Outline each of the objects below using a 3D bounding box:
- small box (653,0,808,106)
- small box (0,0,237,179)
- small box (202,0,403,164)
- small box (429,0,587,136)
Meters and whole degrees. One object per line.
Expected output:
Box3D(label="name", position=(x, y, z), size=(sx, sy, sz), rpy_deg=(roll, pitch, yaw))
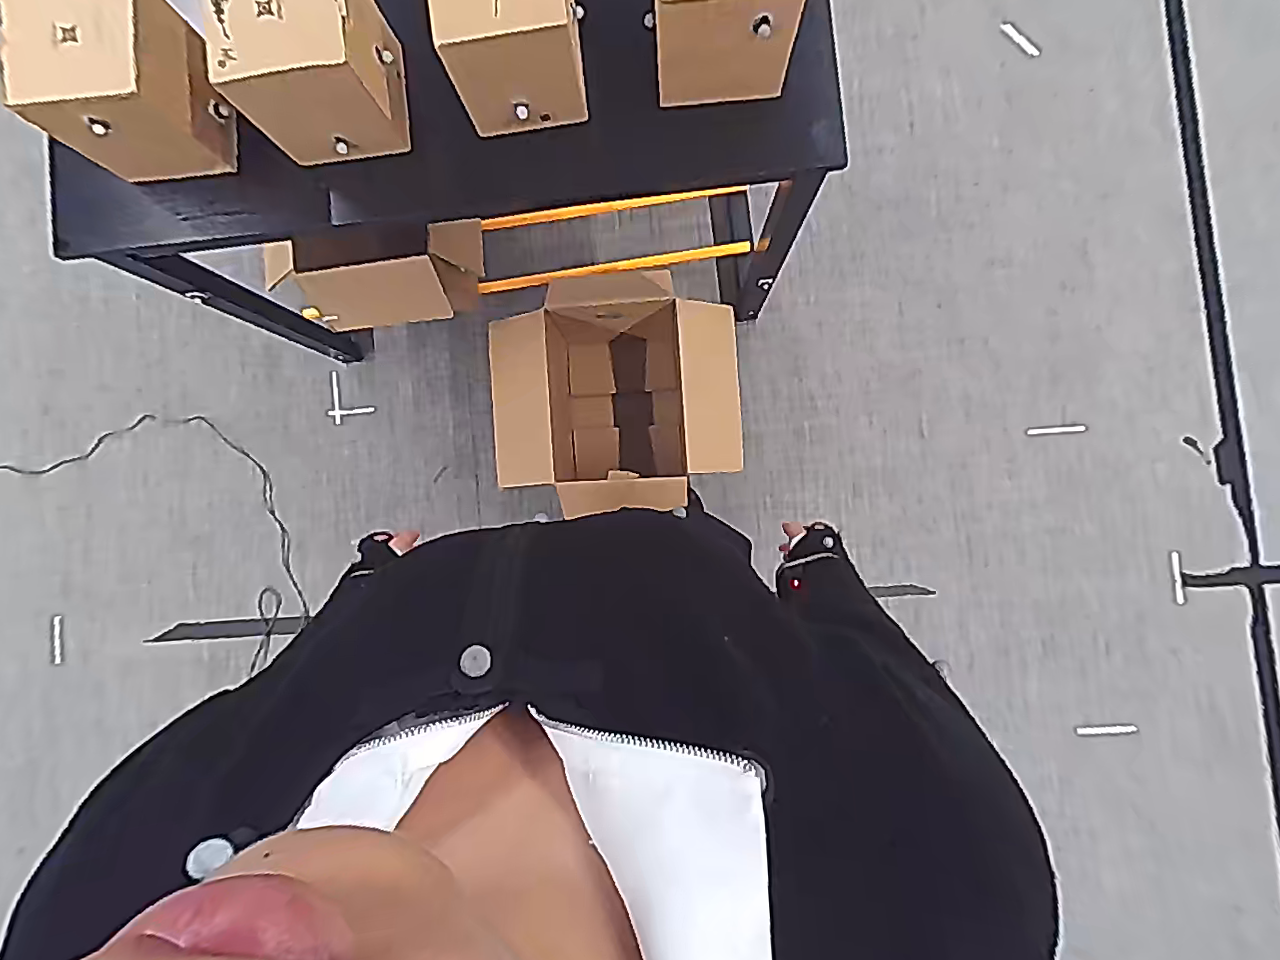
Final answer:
Box3D(label="small box", position=(0.108, -0.629, 0.705), size=(0.179, 0.176, 0.168), rpy_deg=(-4, 86, 2))
Box3D(label="small box", position=(-0.701, -0.540, 0.739), size=(0.179, 0.176, 0.168), rpy_deg=(-5, 89, 1))
Box3D(label="small box", position=(-0.438, -0.561, 0.729), size=(0.179, 0.176, 0.168), rpy_deg=(-7, 87, 1))
Box3D(label="small box", position=(-0.170, -0.603, 0.719), size=(0.168, 0.176, 0.179), rpy_deg=(-7, 88, 2))
